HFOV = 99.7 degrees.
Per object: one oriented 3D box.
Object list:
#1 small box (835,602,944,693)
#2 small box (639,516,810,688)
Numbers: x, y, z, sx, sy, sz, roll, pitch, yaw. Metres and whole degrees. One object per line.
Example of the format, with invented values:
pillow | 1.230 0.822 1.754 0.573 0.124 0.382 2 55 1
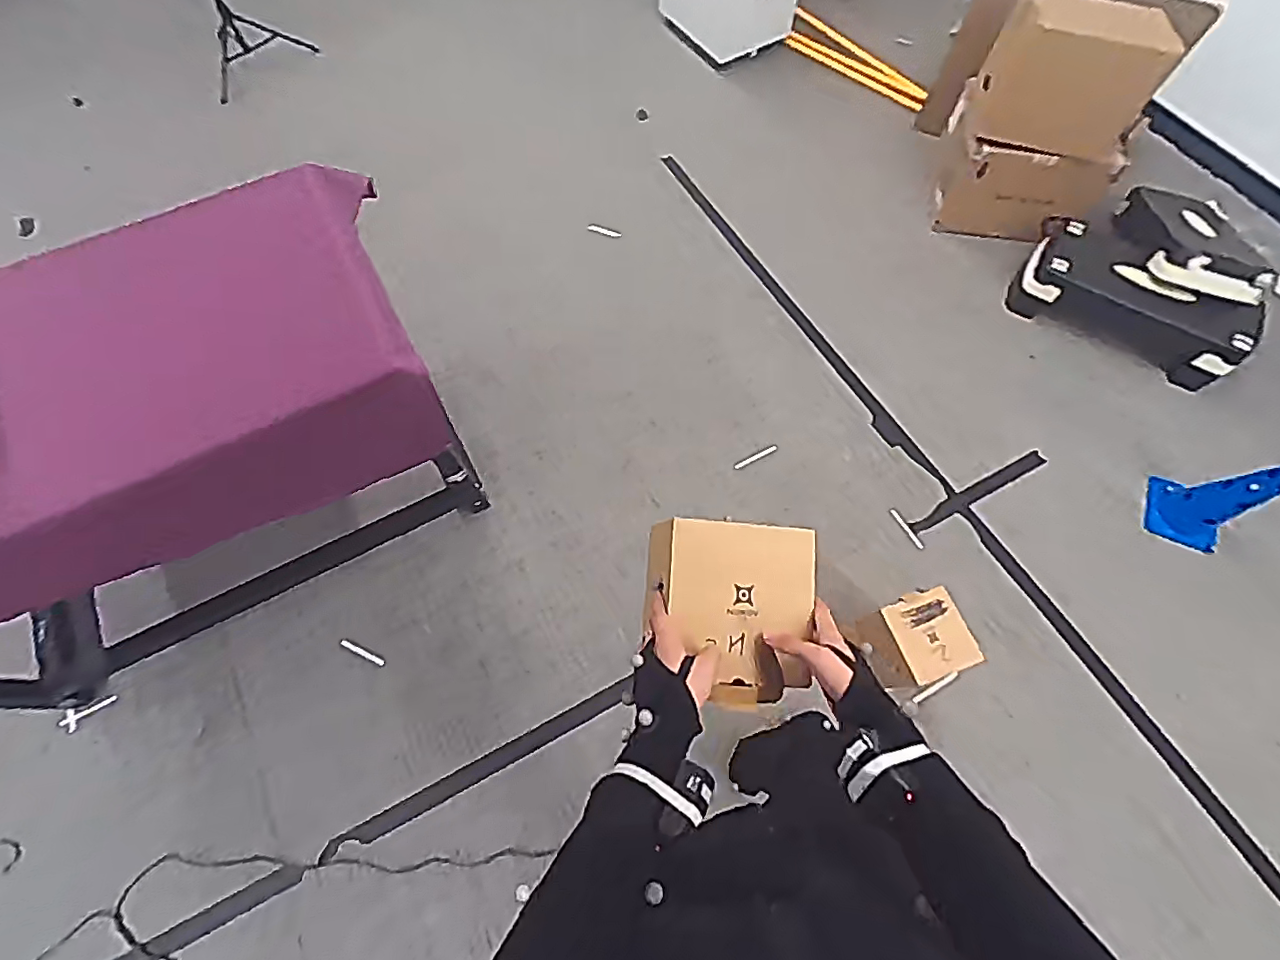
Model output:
small box | 0.633 0.442 1.406 0.179 0.176 0.168 -22 69 -10
small box | 0.093 0.143 0.666 0.168 0.176 0.179 5 82 -7
